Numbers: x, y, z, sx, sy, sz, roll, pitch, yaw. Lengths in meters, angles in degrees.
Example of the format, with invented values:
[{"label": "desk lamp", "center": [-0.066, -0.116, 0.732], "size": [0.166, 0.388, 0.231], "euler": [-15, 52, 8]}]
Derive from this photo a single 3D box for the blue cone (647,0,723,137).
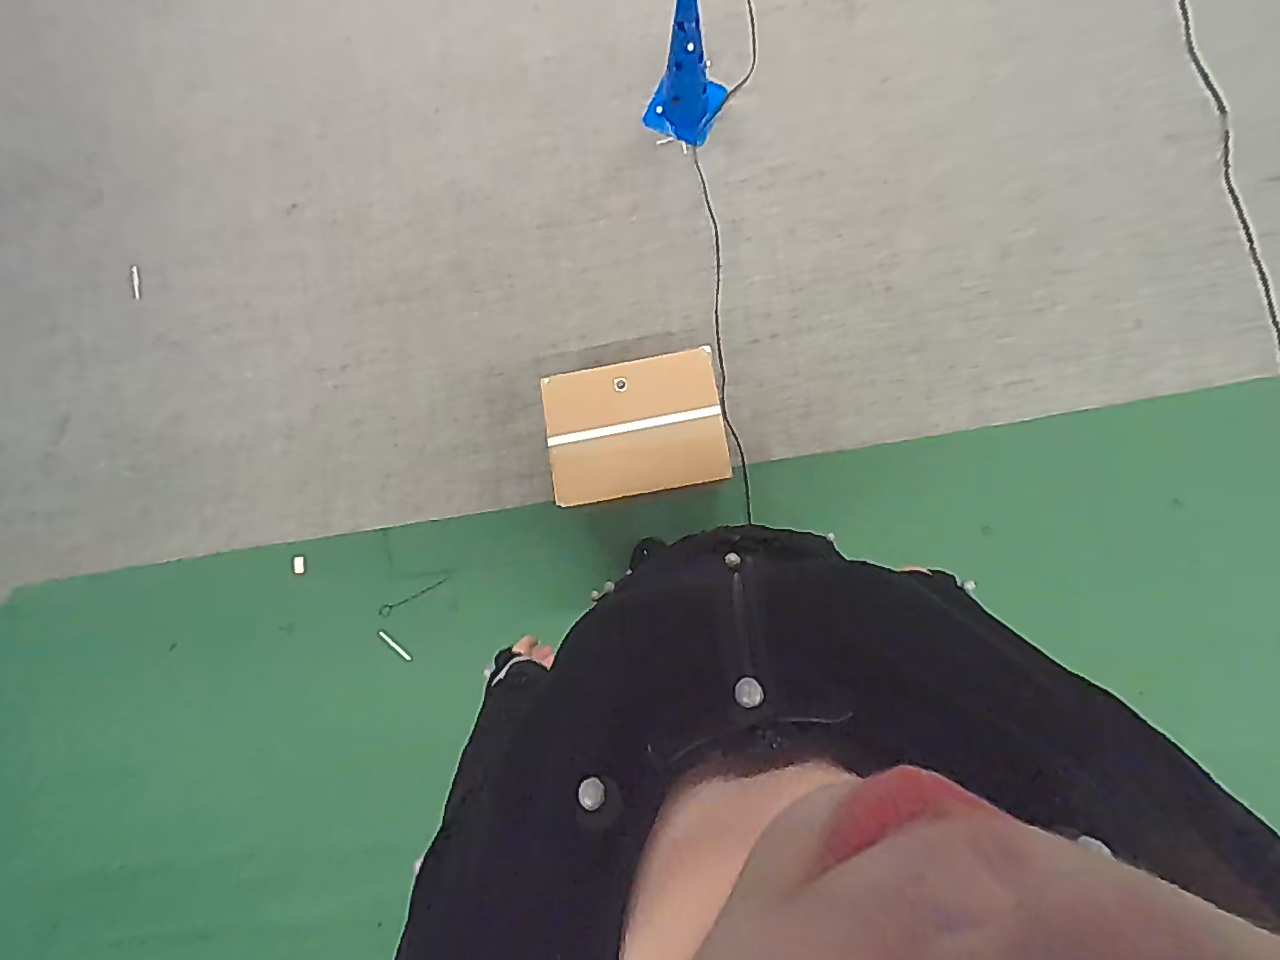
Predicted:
[{"label": "blue cone", "center": [0.119, -1.115, 1.415], "size": [0.192, 0.380, 0.193], "euler": [23, 89, 6]}]
